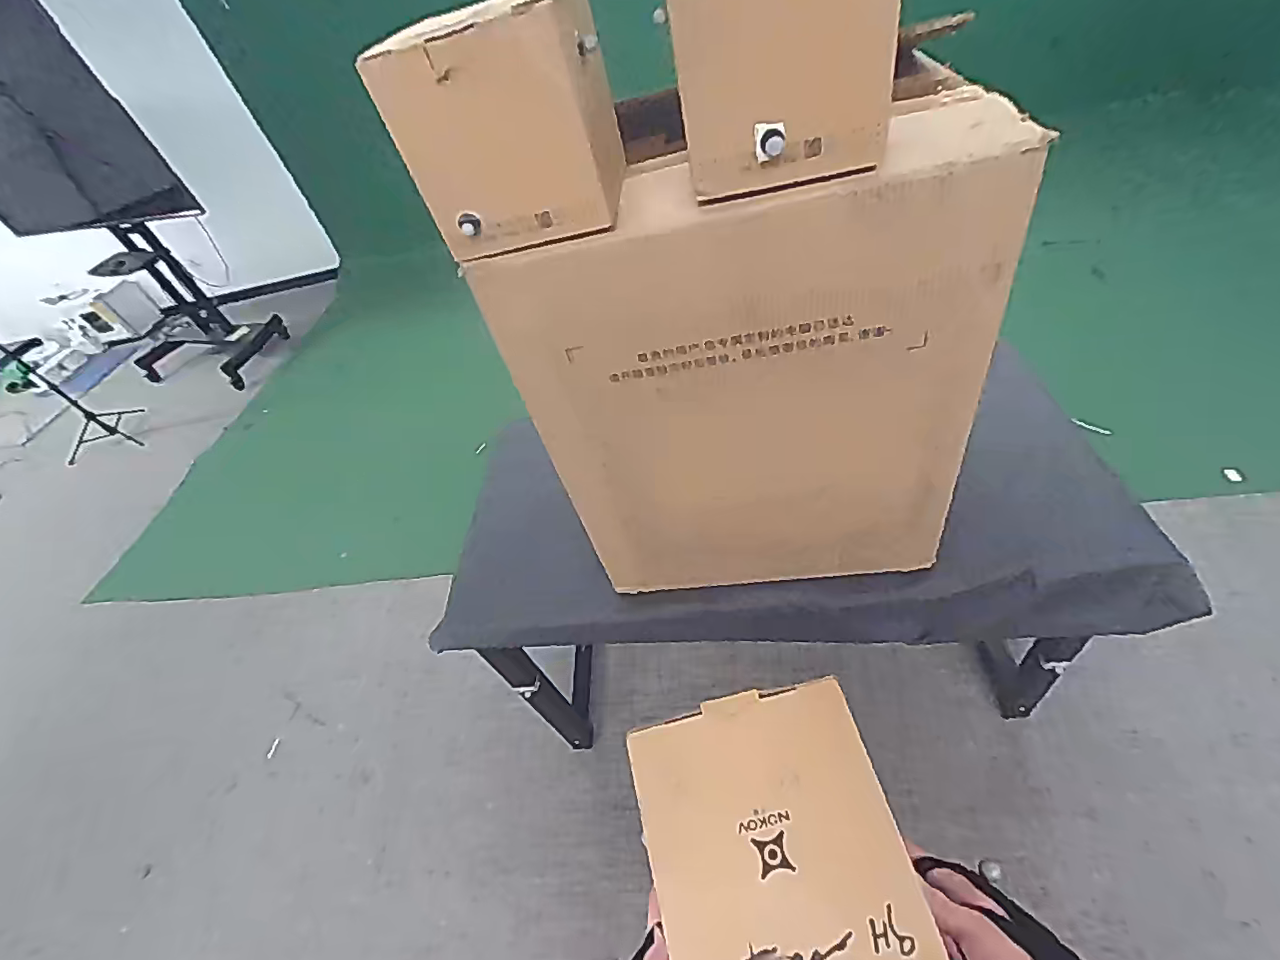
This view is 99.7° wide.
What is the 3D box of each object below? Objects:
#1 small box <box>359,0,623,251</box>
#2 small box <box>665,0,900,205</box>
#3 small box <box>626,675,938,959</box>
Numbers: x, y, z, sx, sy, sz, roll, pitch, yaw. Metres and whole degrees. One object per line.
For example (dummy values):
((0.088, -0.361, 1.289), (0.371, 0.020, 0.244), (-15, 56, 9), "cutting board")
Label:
((-0.119, -0.339, 0.520), (0.168, 0.176, 0.179), (-7, 46, 13), "small box")
((0.115, -0.371, 0.475), (0.168, 0.176, 0.179), (-8, 48, 11), "small box")
((0.095, 0.278, 0.433), (0.168, 0.176, 0.179), (-16, 58, 2), "small box")
